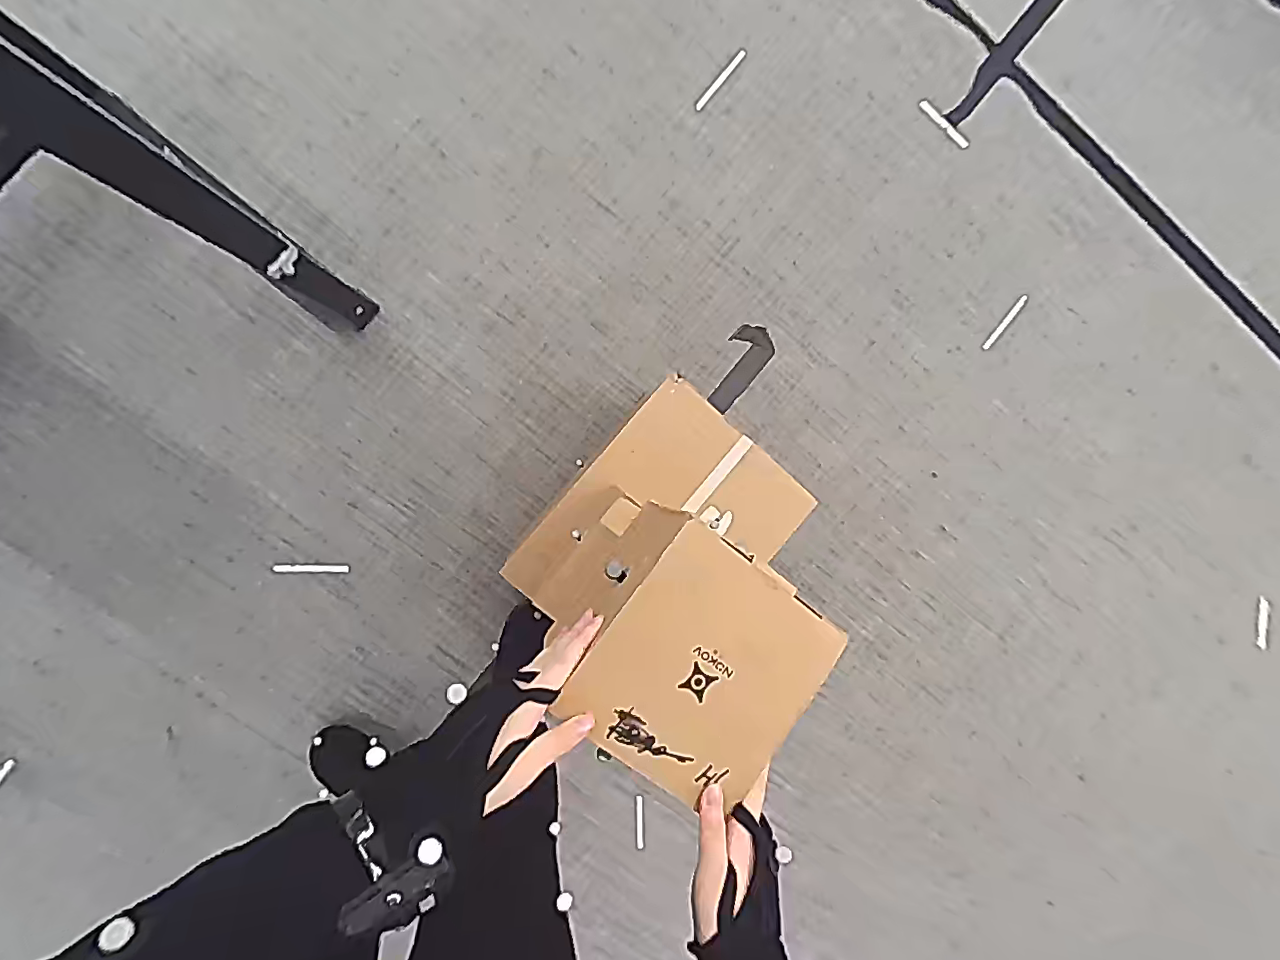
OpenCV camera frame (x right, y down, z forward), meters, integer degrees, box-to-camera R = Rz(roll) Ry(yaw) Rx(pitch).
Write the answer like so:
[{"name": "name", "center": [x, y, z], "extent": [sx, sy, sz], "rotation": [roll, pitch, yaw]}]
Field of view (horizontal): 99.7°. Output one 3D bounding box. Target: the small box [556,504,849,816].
[{"name": "small box", "center": [0.036, 0.134, 0.480], "extent": [0.168, 0.176, 0.179], "rotation": [39, 84, -8]}]

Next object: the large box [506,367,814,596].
[{"name": "large box", "center": [0.019, 0.070, 0.974], "extent": [0.320, 0.320, 0.408], "rotation": [41, 87, -8]}]

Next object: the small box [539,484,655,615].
[{"name": "small box", "center": [-0.014, 0.119, 0.726], "extent": [0.168, 0.176, 0.179], "rotation": [40, 89, -5]}]
